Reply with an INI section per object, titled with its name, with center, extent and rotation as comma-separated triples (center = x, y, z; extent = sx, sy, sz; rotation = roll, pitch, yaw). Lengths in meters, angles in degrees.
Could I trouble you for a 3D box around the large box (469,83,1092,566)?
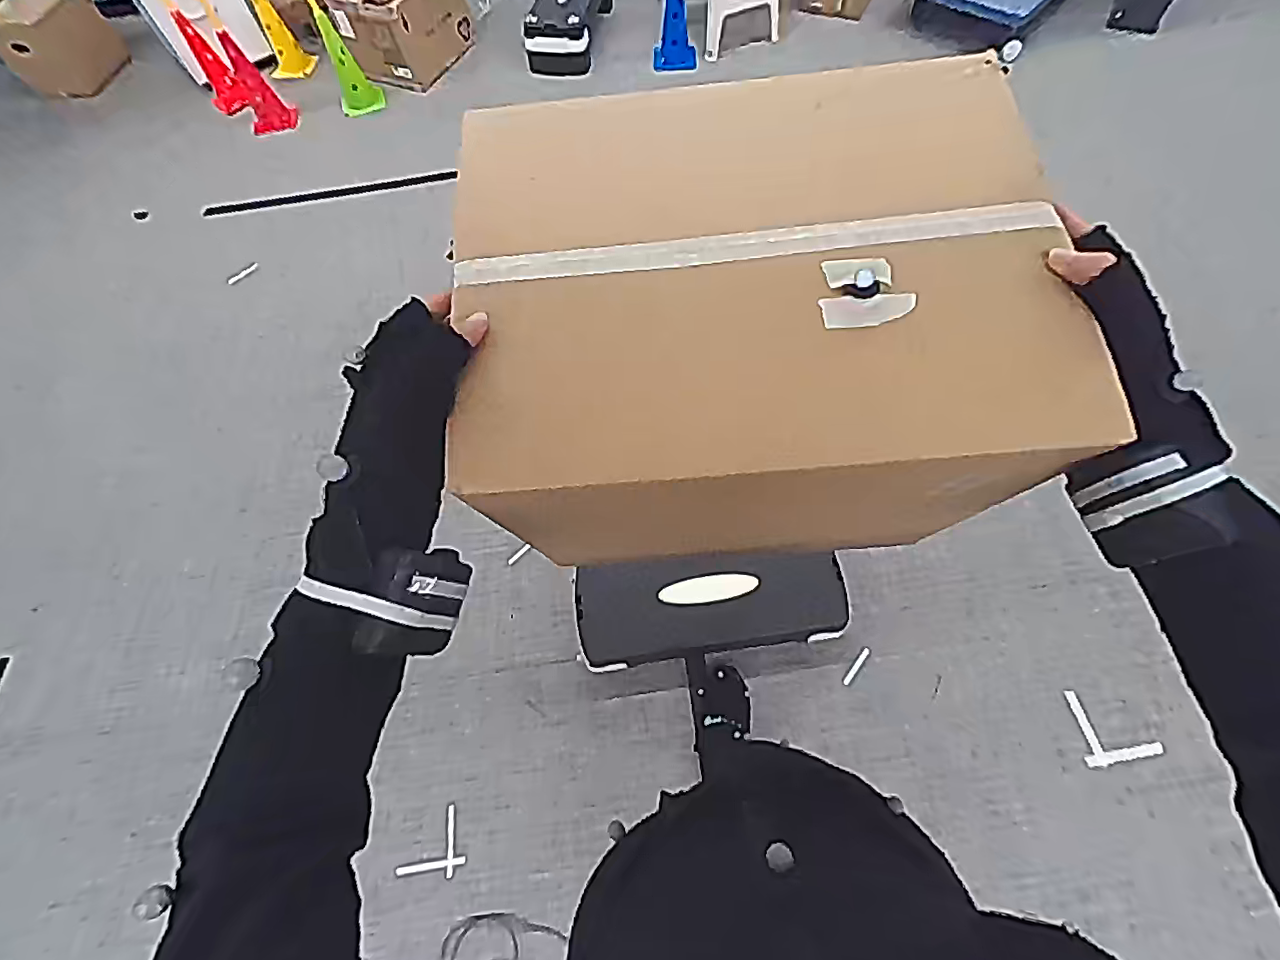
[large box]
center = 0.083, -0.107, 0.530
extent = 0.408, 0.320, 0.320
rotation = -5, 72, 3
